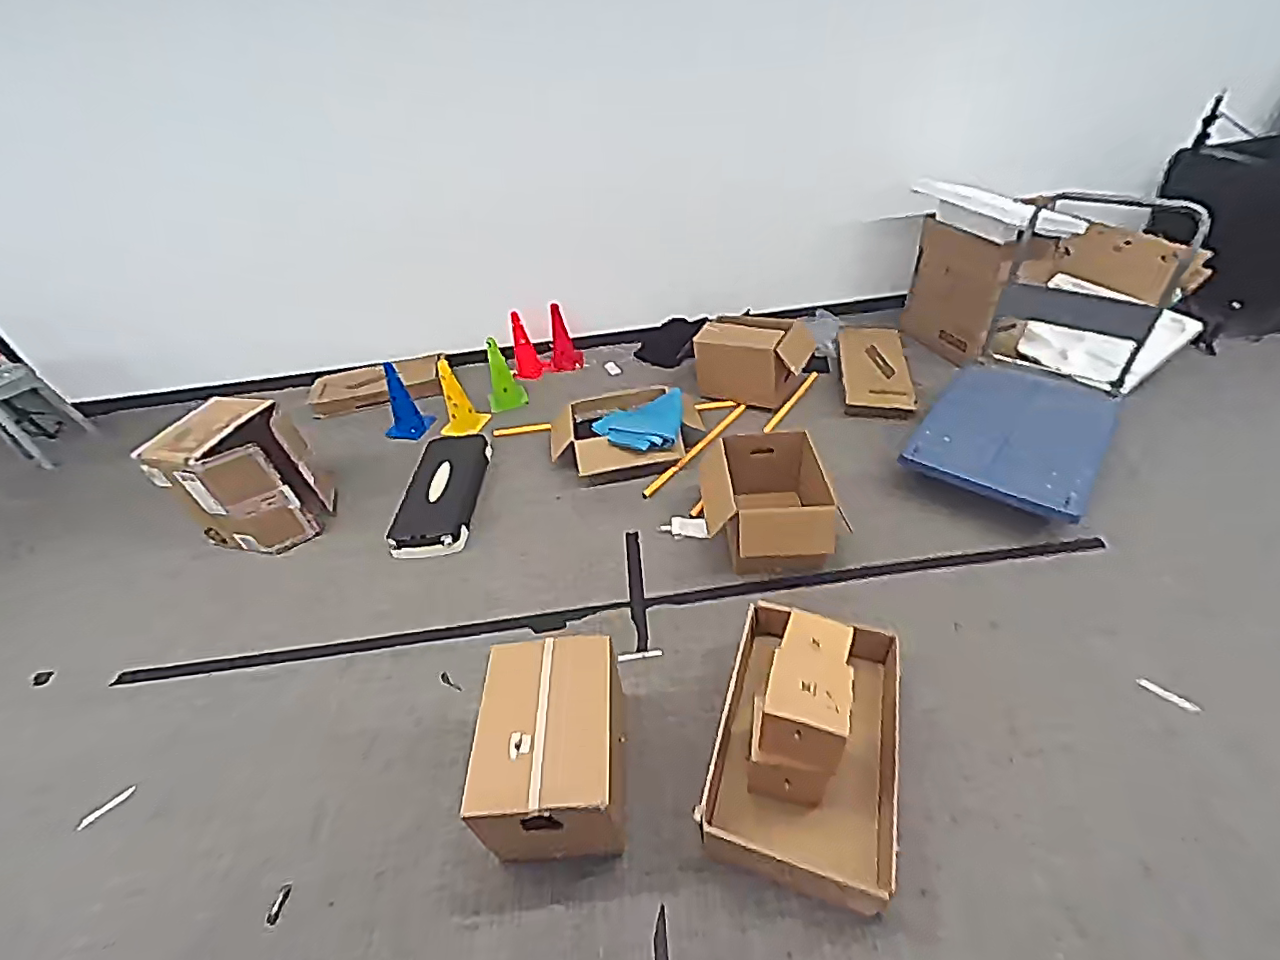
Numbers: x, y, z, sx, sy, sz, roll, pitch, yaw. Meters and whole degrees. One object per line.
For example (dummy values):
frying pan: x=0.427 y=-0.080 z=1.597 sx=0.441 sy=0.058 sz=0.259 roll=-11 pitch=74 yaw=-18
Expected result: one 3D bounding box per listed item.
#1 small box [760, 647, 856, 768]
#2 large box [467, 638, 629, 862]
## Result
small box: x=0.373 y=0.510 z=1.210 sx=0.179 sy=0.176 sz=0.168 roll=11 pitch=41 yaw=18
large box: x=-0.201 y=0.660 z=1.340 sx=0.320 sy=0.320 sz=0.408 roll=-7 pitch=42 yaw=2
